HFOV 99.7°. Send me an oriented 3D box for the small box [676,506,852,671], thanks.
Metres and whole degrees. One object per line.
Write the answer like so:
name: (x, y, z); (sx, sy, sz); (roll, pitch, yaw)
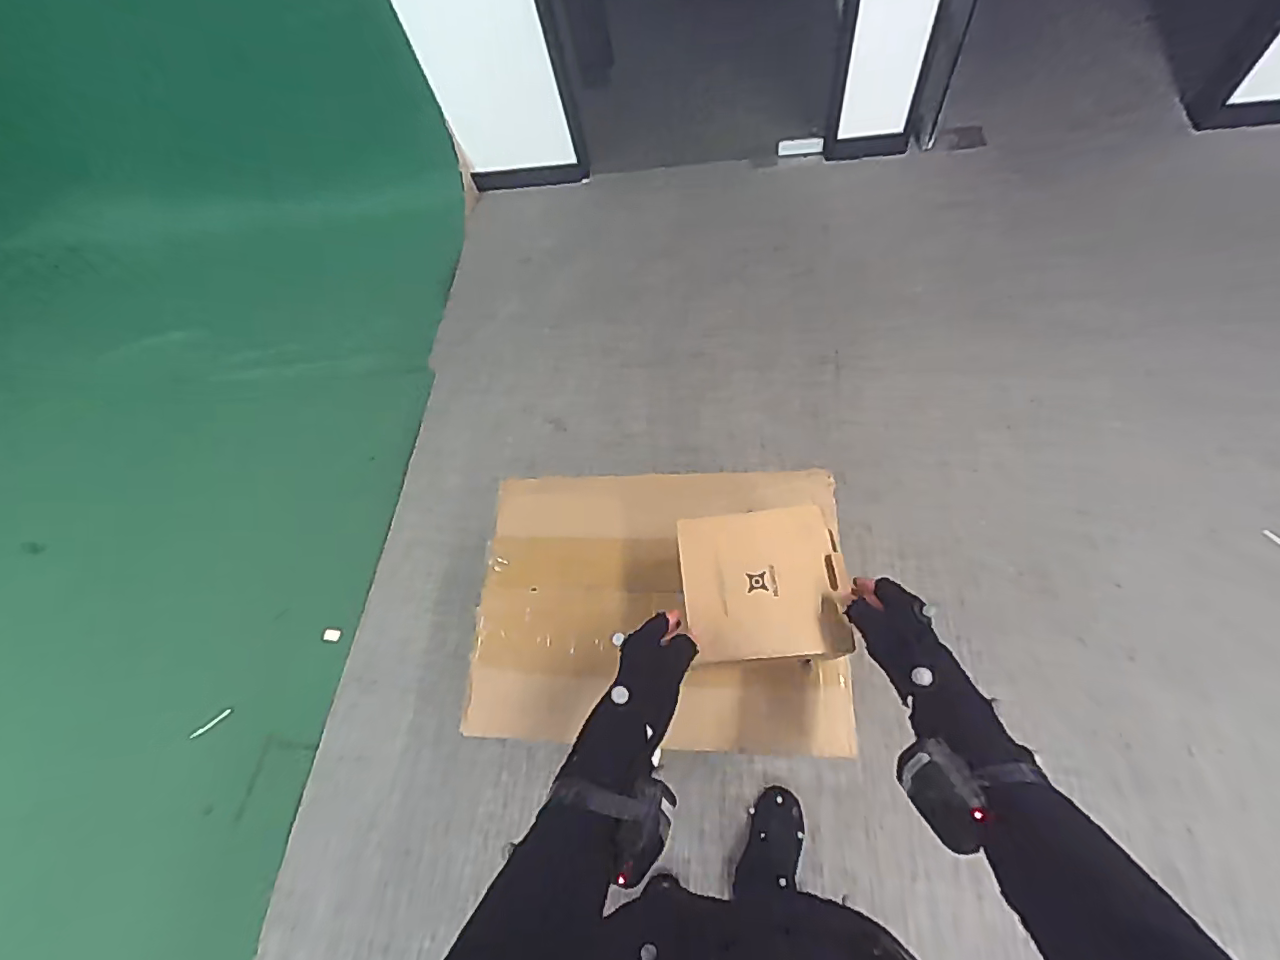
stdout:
small box: (0.146, 0.145, 0.682); (0.179, 0.176, 0.168); (-8, 66, 7)
